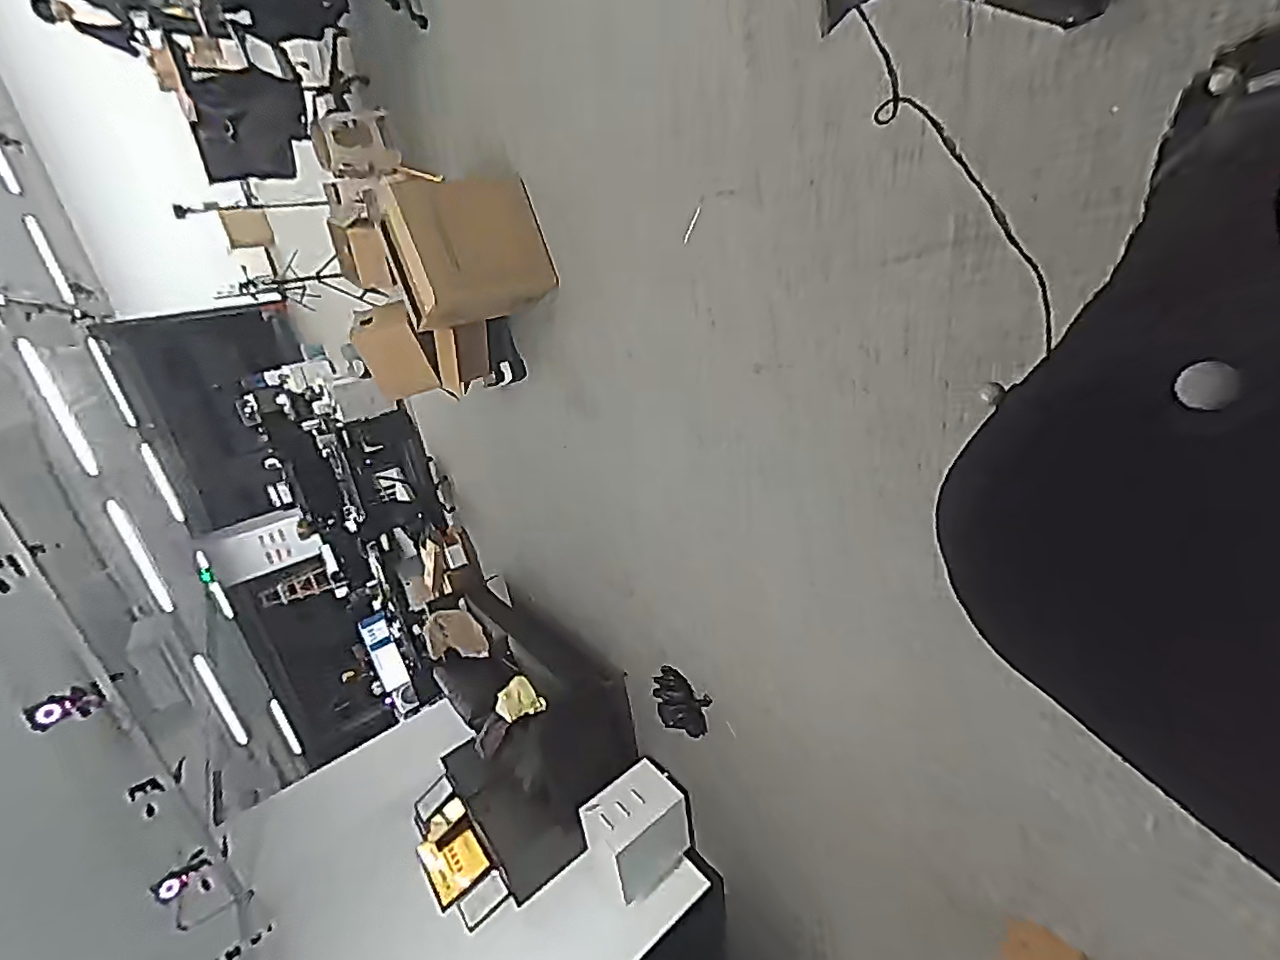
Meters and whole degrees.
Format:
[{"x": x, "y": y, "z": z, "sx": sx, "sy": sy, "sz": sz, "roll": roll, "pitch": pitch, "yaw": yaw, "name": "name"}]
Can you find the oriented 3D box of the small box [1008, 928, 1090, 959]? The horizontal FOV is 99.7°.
[{"x": 1.276, "y": 1.549, "z": 1.672, "sx": 0.179, "sy": 0.176, "sz": 0.168, "roll": -1, "pitch": 109, "yaw": 54, "name": "small box"}]
